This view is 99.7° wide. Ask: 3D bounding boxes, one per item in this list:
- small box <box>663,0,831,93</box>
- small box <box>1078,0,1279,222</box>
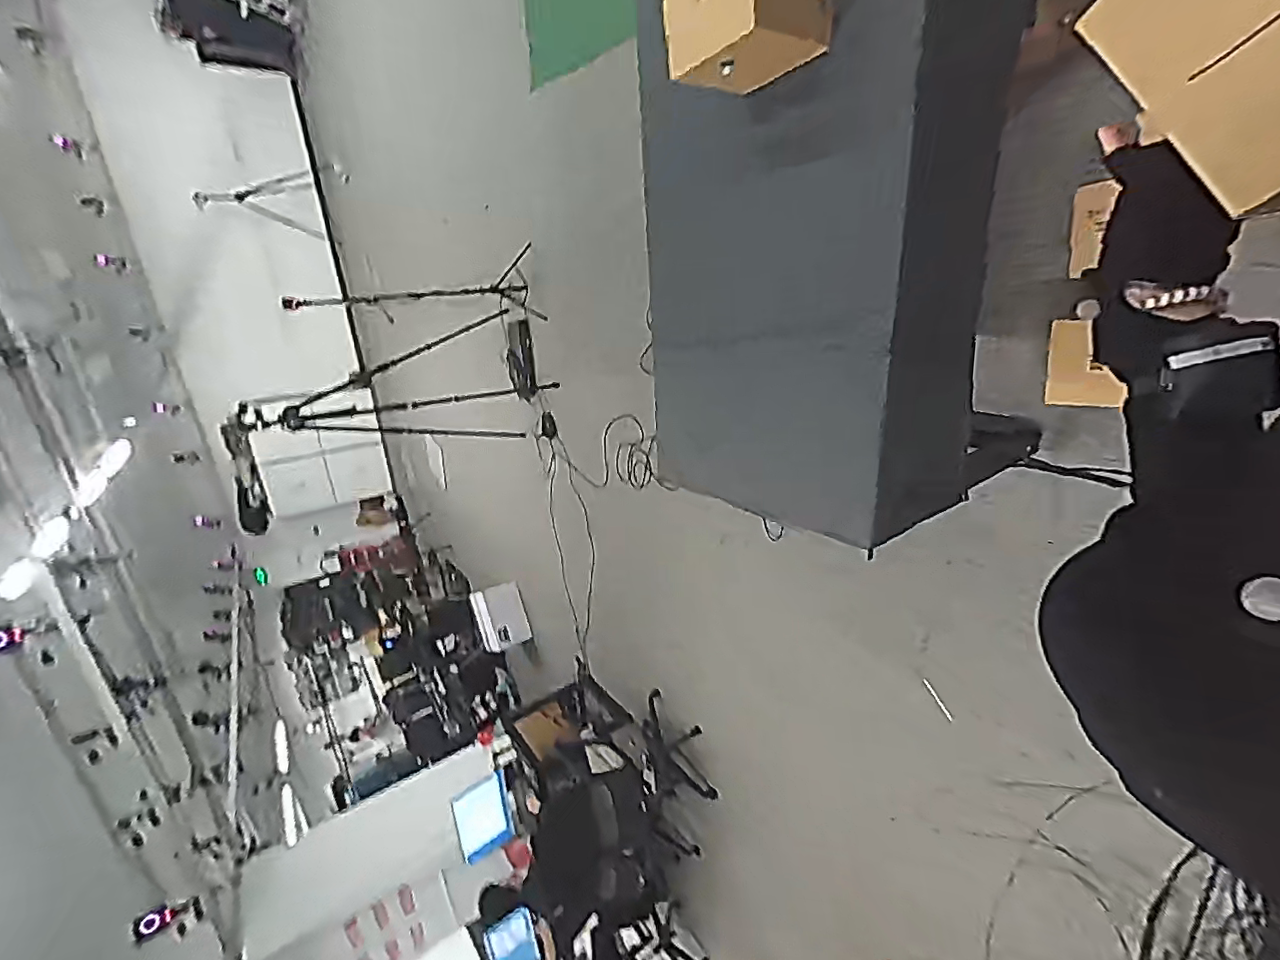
[{"bbox_3d":[0.151,-0.686,0.778,0.179,0.176,0.168,19,122,52],"label":"small box"},{"bbox_3d":[0.420,-0.283,0.313,0.168,0.176,0.179,64,149,9],"label":"small box"}]
